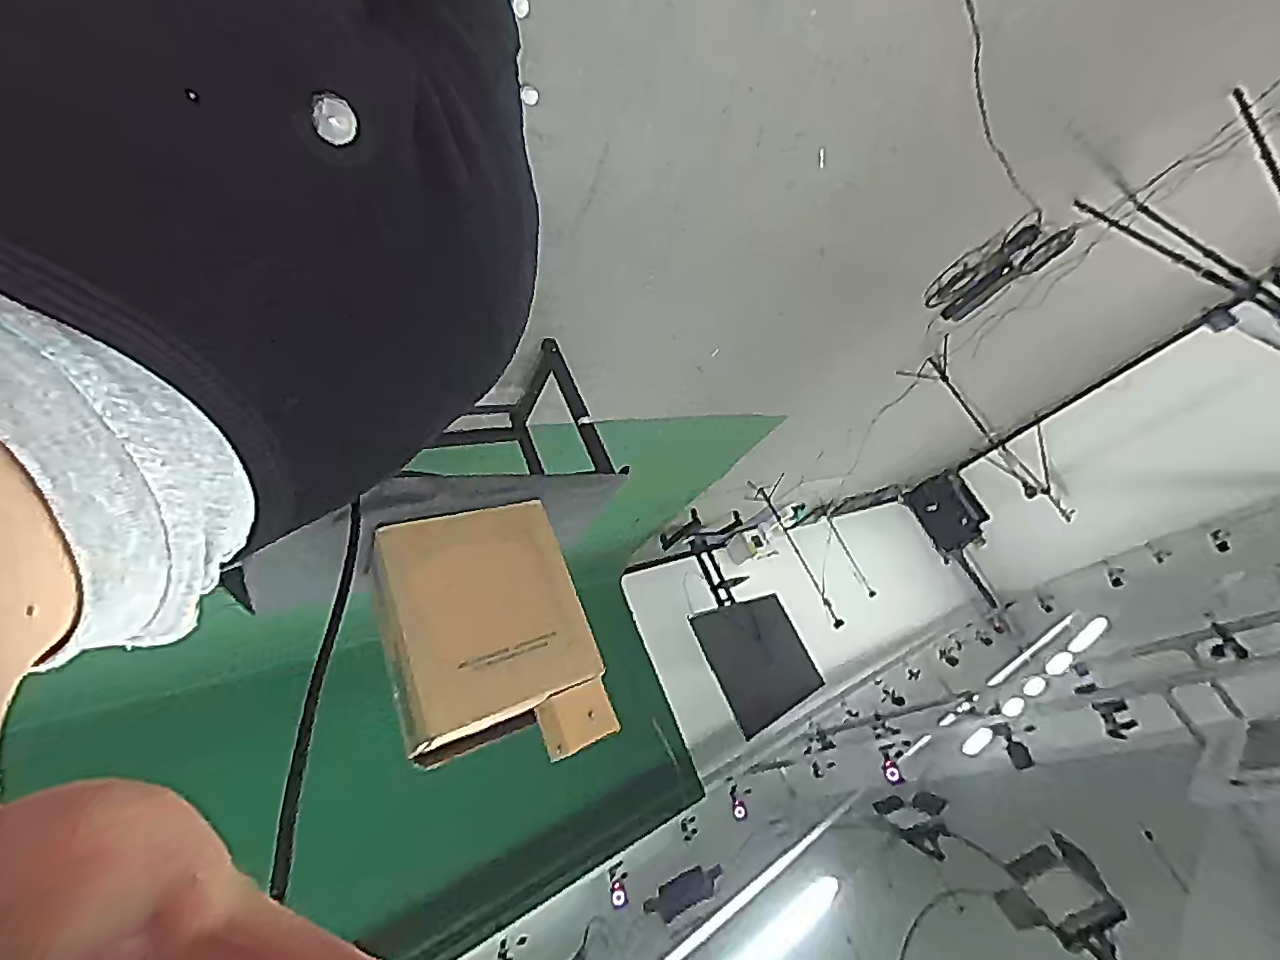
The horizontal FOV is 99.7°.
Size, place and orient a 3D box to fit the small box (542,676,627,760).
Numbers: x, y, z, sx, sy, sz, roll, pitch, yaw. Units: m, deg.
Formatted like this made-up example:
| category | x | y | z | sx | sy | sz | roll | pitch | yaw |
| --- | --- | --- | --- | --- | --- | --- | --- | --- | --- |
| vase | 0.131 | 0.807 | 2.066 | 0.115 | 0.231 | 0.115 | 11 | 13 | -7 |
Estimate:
| category | x | y | z | sx | sy | sz | roll | pitch | yaw |
| --- | --- | --- | --- | --- | --- | --- | --- | --- | --- |
| small box | -0.175 | 0.727 | 1.665 | 0.179 | 0.176 | 0.168 | -13 | 154 | -36 |
